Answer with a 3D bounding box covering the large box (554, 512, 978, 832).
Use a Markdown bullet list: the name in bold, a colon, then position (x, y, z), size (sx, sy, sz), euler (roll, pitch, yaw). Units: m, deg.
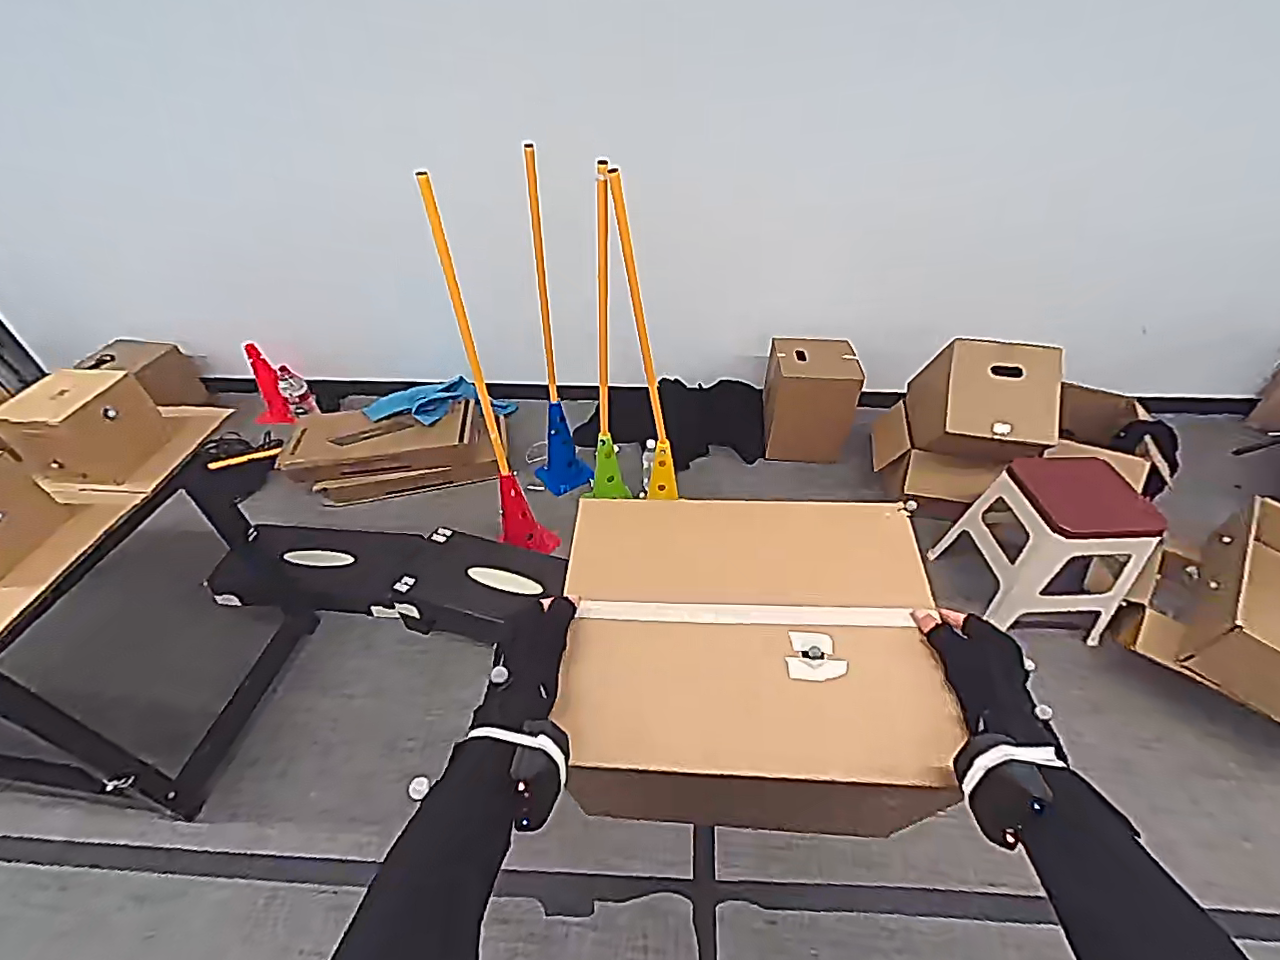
- **large box**: position (0.127, 0.254, 0.713), size (0.408, 0.320, 0.320), euler (0, 51, 5)
